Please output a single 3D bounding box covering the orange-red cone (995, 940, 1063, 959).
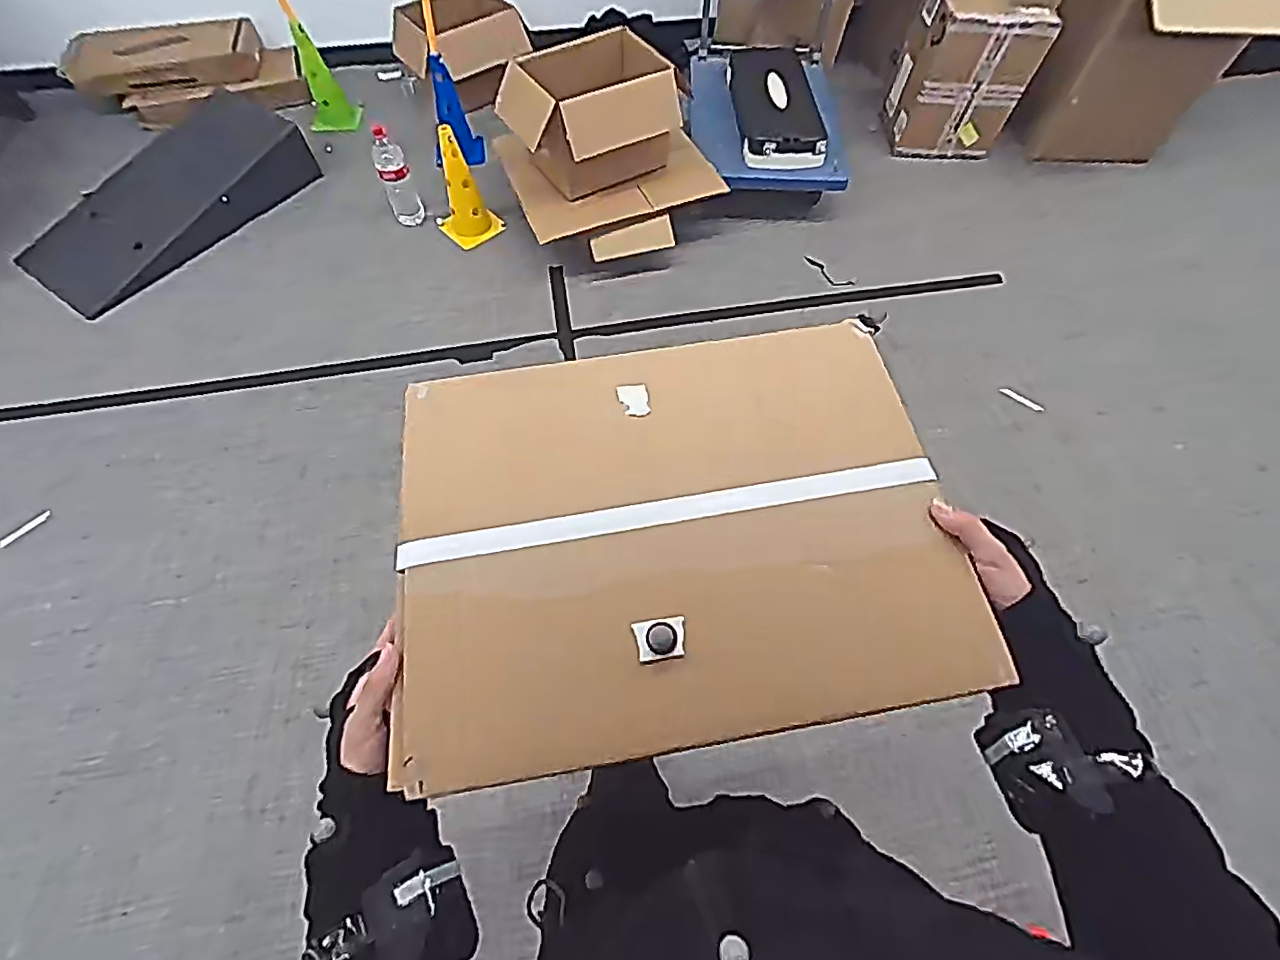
[{"bbox_3d":[0.745,0.919,0.851,0.199,0.360,0.198,-16,64,-10],"label":"orange-red cone"}]
